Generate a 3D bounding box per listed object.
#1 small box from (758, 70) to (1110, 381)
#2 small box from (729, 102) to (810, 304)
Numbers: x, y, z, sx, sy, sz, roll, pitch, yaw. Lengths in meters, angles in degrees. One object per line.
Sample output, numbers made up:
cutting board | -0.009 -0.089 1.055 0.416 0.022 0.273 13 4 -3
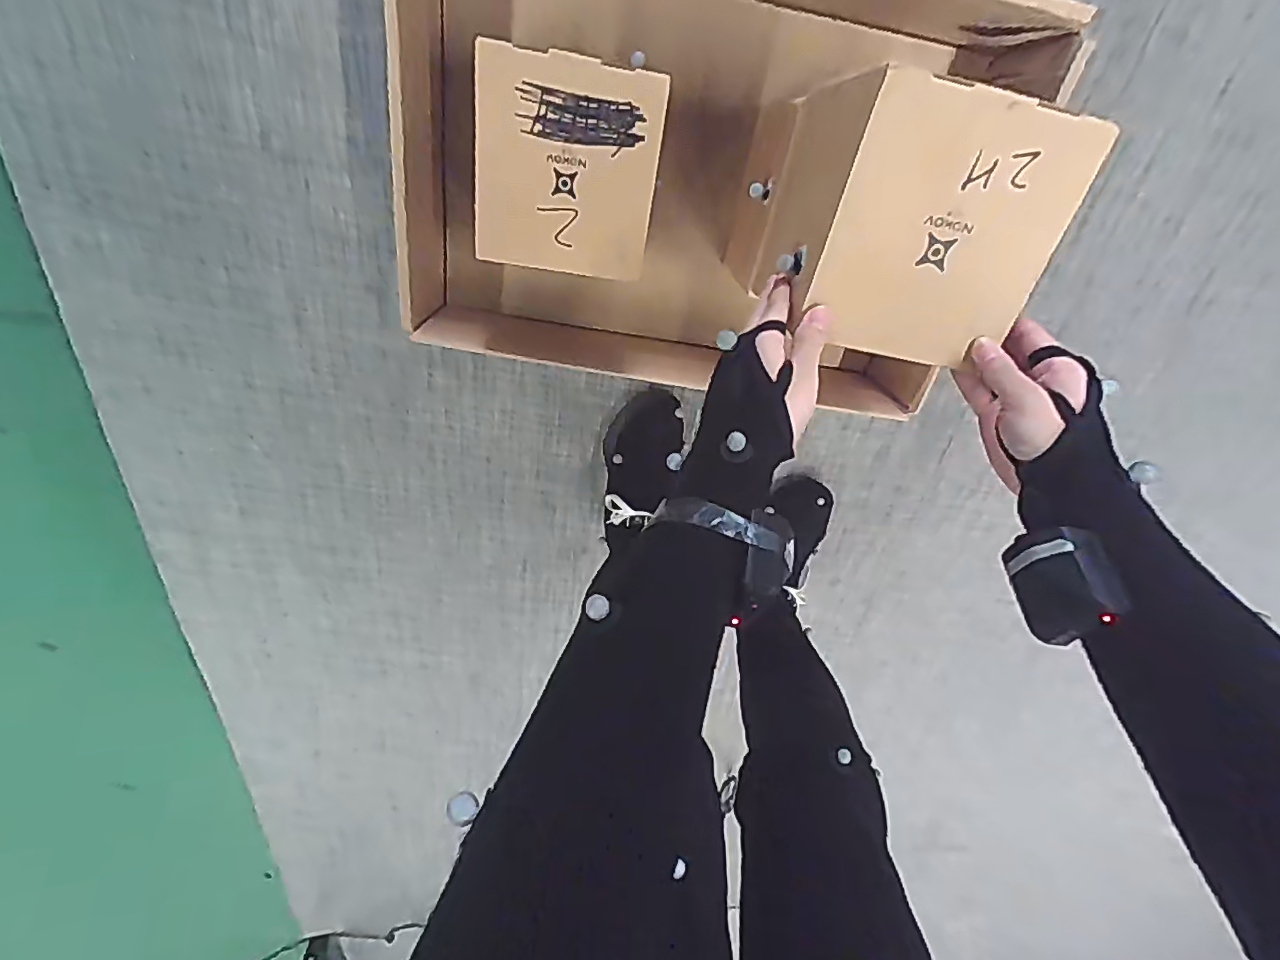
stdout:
small box | 0.210 -0.207 0.452 0.168 0.176 0.179 10 120 -7
small box | 0.204 -0.289 0.596 0.168 0.176 0.179 9 120 -6
